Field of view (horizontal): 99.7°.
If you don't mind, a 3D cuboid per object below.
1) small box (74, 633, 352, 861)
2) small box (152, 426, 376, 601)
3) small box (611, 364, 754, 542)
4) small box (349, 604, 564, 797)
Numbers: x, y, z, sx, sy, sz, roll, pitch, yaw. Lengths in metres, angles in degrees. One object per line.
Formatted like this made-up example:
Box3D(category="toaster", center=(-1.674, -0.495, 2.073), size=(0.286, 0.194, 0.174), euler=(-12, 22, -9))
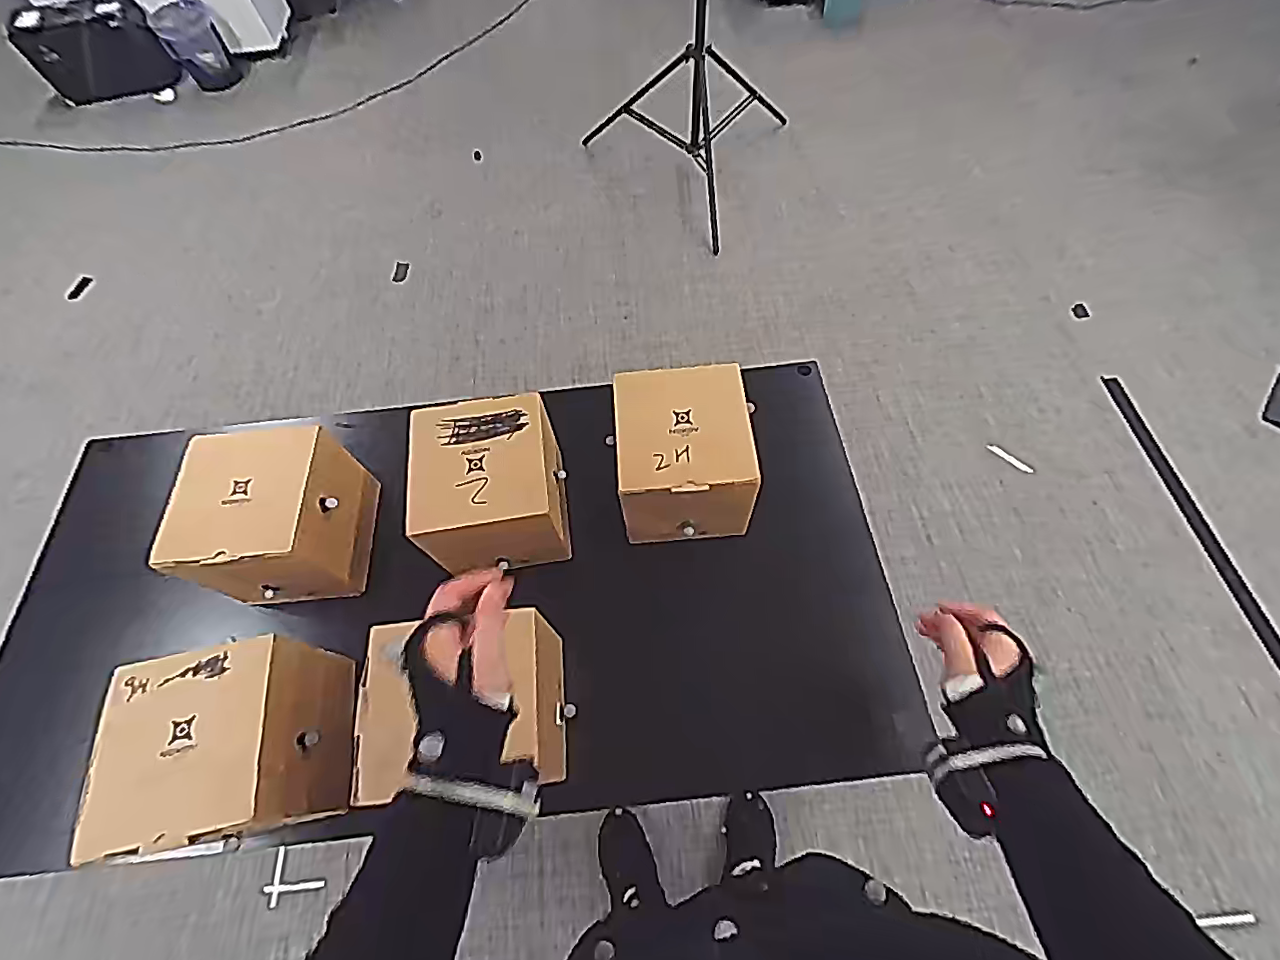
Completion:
Box3D(category="small box", center=(-0.442, 0.287, 0.597), size=(0.168, 0.176, 0.179), euler=(-12, 63, -3))
Box3D(category="small box", center=(-0.479, 0.050, 0.724), size=(0.168, 0.176, 0.179), euler=(-5, 63, 0))
Box3D(category="small box", center=(0.052, -0.032, 0.735), size=(0.168, 0.176, 0.179), euler=(-5, 62, 2))
Box3D(category="small box", center=(-0.188, 0.249, 0.604), size=(0.179, 0.176, 0.168), euler=(-7, 63, -1))
